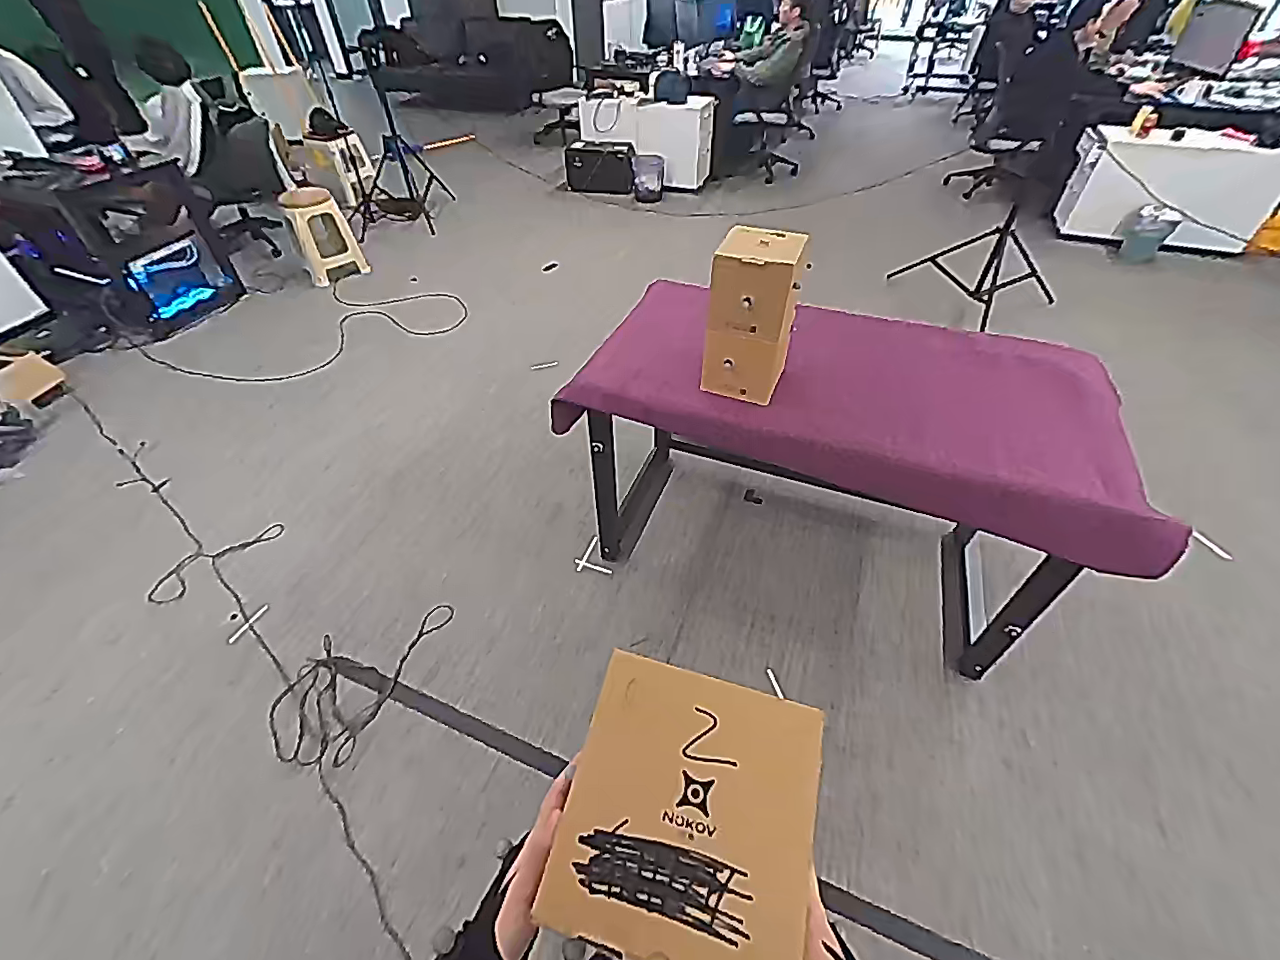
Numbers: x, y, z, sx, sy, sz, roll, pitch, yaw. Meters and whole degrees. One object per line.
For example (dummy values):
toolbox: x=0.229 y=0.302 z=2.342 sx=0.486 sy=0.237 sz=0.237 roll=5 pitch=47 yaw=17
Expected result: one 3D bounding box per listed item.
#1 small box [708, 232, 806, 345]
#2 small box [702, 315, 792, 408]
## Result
small box: x=0.250 y=-0.415 z=1.179 sx=0.168 sy=0.176 sz=0.179 roll=16 pitch=47 yaw=15
small box: x=0.251 y=-0.294 z=1.290 sx=0.168 sy=0.176 sz=0.179 roll=16 pitch=46 yaw=16
